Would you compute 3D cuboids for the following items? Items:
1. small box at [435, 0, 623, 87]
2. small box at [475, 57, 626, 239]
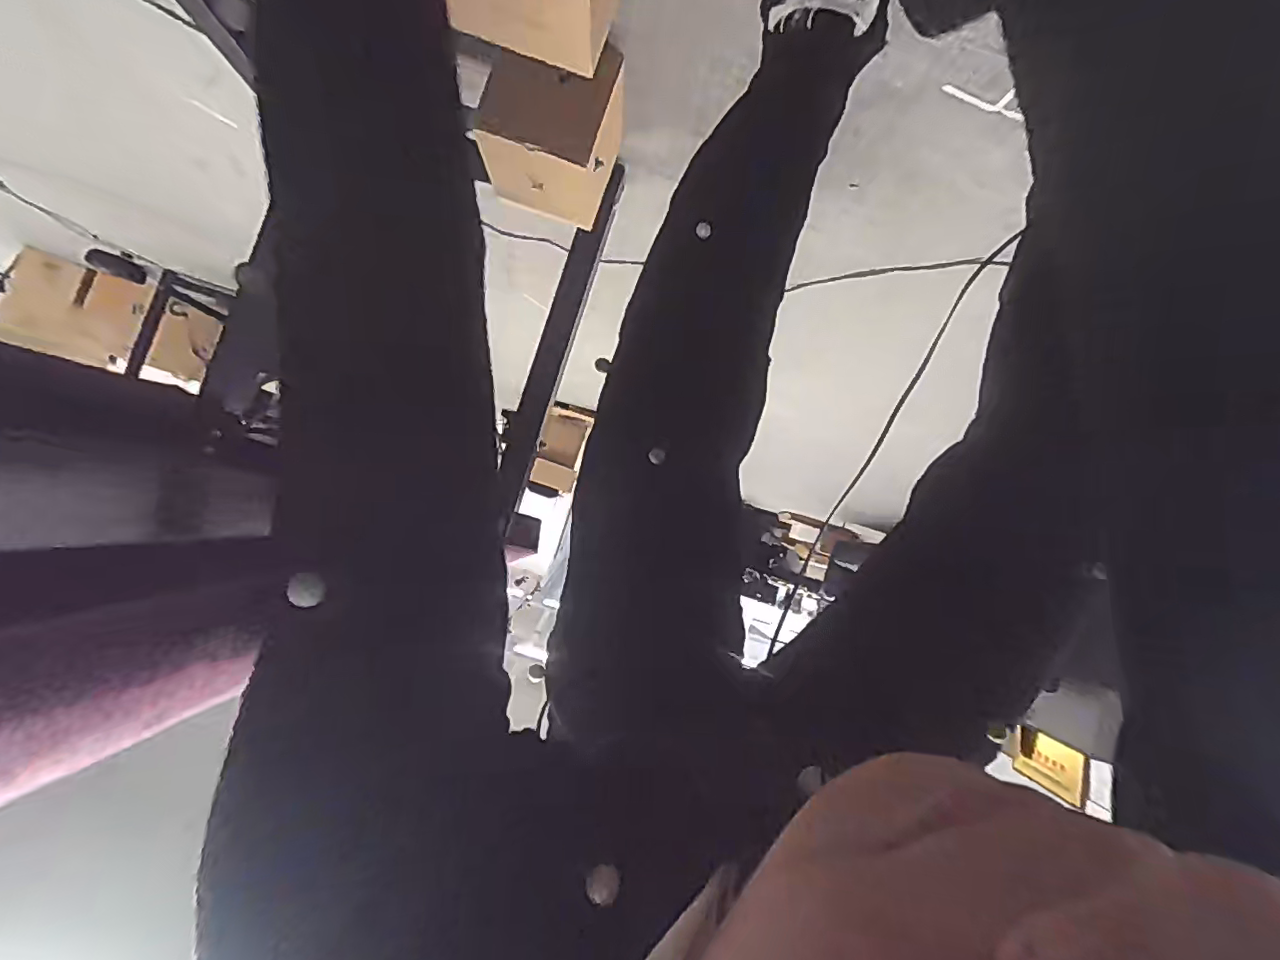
[{"bbox_3d":[-0.096,-0.527,0.496,0.168,0.176,0.179,19,176,-2],"label":"small box"},{"bbox_3d":[-0.124,-0.508,0.819,0.168,0.176,0.179,18,175,-1],"label":"small box"}]
